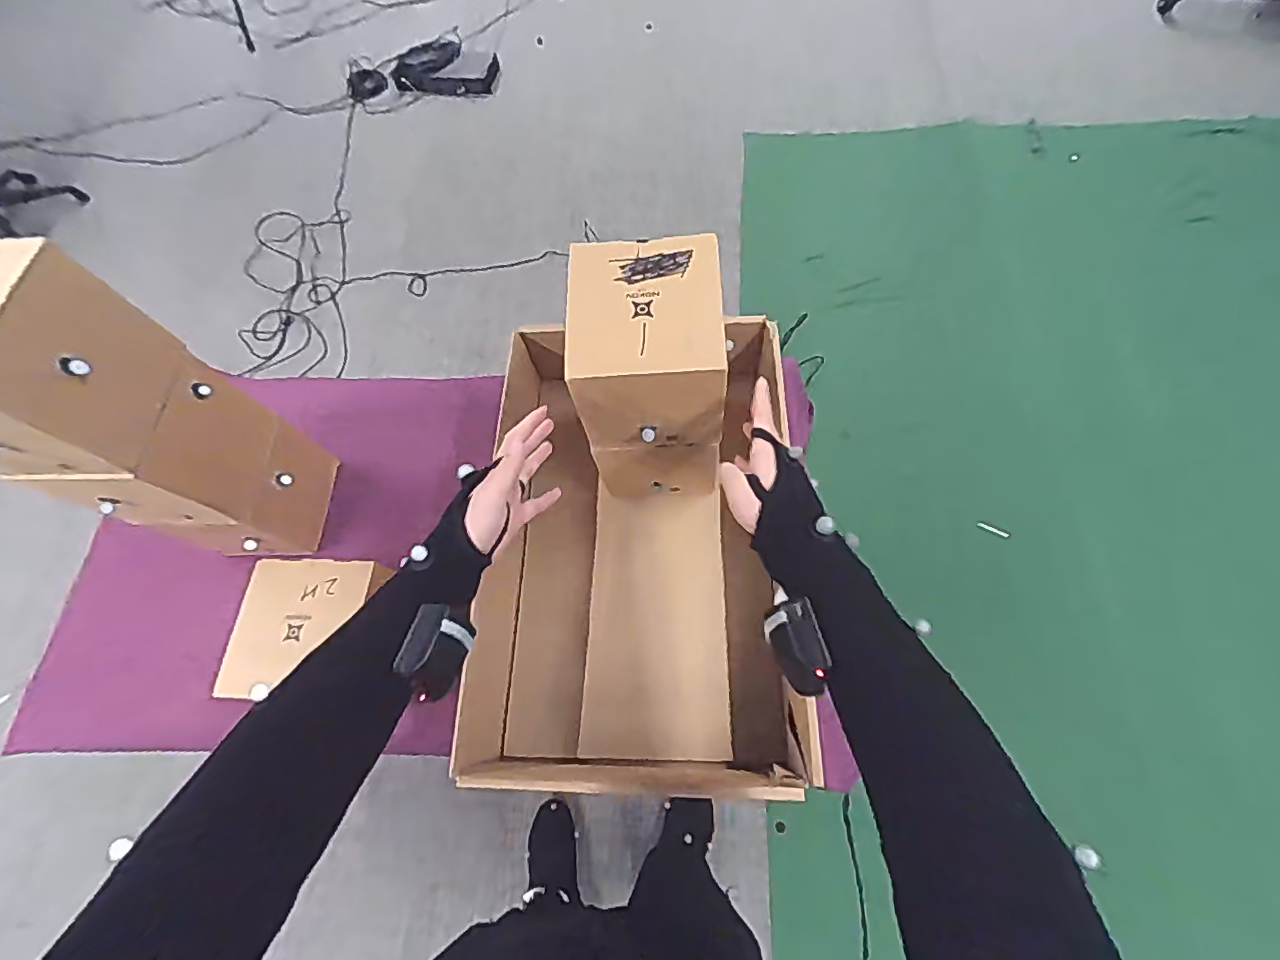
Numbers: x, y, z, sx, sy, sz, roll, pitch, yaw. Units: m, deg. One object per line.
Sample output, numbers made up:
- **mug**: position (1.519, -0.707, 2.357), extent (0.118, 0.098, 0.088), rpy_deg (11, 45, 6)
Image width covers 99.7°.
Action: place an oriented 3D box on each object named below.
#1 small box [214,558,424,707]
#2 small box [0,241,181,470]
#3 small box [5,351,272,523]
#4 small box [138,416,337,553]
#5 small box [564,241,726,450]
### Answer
- **small box**: position (-0.426, 0.218, 0.753), extent (0.168, 0.176, 0.179), rpy_deg (1, 66, 4)
- **small box**: position (-0.642, -0.117, 0.564), extent (0.168, 0.176, 0.179), rpy_deg (-1, 67, 3)
- **small box**: position (-0.632, -0.047, 0.713), extent (0.168, 0.176, 0.179), rpy_deg (0, 66, 4)
- **small box**: position (-0.620, 0.014, 0.862), extent (0.168, 0.176, 0.179), rpy_deg (0, 66, 4)
- **small box**: position (0.011, -0.151, 0.643), extent (0.168, 0.176, 0.179), rpy_deg (-2, 68, 5)
